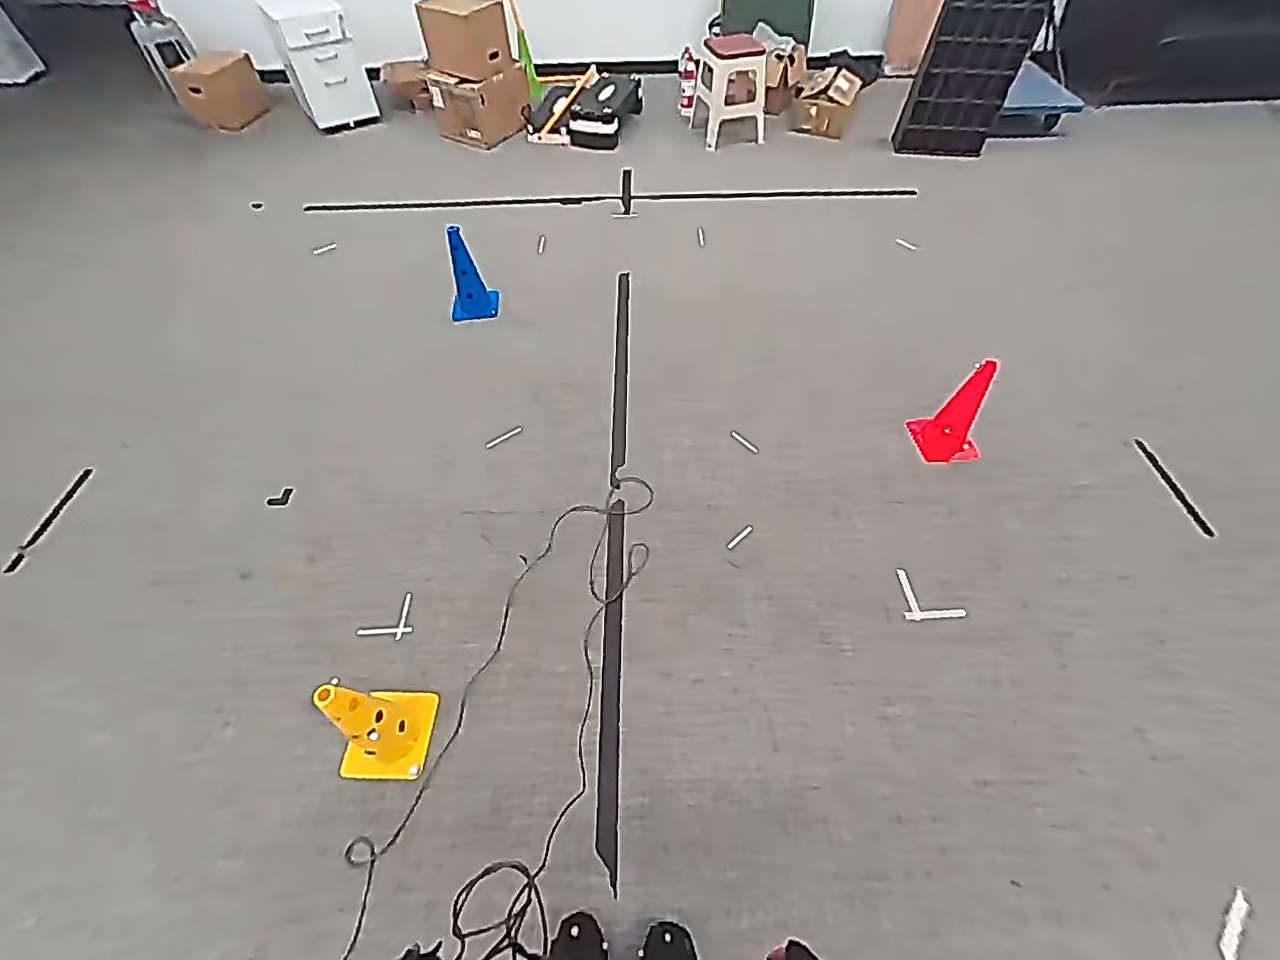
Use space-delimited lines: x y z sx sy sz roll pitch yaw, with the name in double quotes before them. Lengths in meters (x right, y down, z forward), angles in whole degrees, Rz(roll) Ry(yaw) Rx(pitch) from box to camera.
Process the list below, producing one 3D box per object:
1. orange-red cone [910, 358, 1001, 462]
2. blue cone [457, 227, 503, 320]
"orange-red cone" 1.069 -0.248 1.767 0.198 0.360 0.199 -4 52 -3
"blue cone" -0.713 -0.877 2.280 0.192 0.380 0.193 -5 53 -3
